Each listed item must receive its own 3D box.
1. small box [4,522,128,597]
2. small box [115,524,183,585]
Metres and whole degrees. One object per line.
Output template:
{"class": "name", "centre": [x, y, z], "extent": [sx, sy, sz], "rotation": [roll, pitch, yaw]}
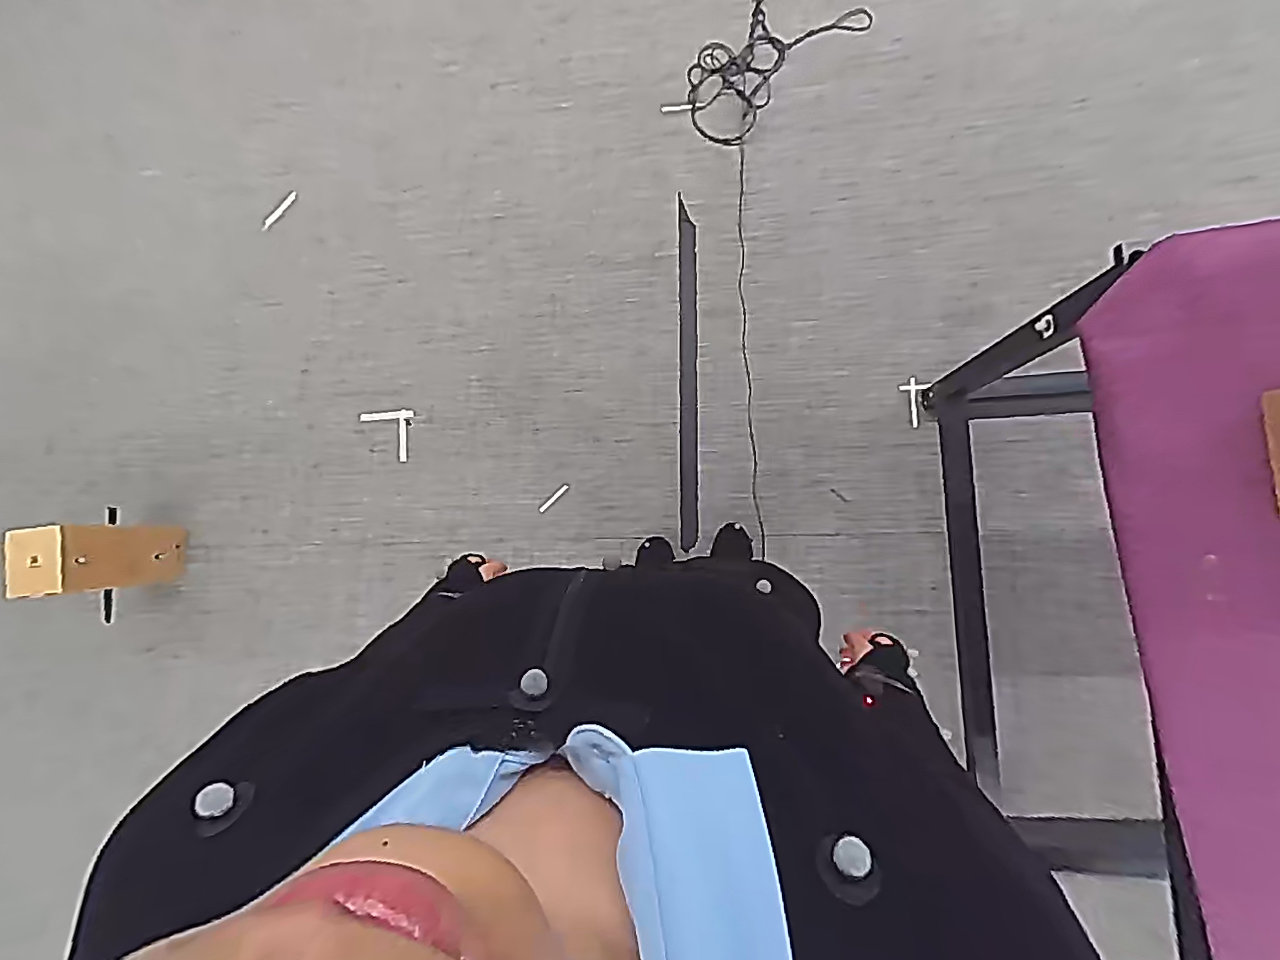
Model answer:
{"class": "small box", "centre": [-1.530, 0.209, 1.451], "extent": [0.168, 0.176, 0.179], "rotation": [-7, 85, 6]}
{"class": "small box", "centre": [-1.520, 0.217, 1.614], "extent": [0.179, 0.176, 0.168], "rotation": [1, 85, 8]}
